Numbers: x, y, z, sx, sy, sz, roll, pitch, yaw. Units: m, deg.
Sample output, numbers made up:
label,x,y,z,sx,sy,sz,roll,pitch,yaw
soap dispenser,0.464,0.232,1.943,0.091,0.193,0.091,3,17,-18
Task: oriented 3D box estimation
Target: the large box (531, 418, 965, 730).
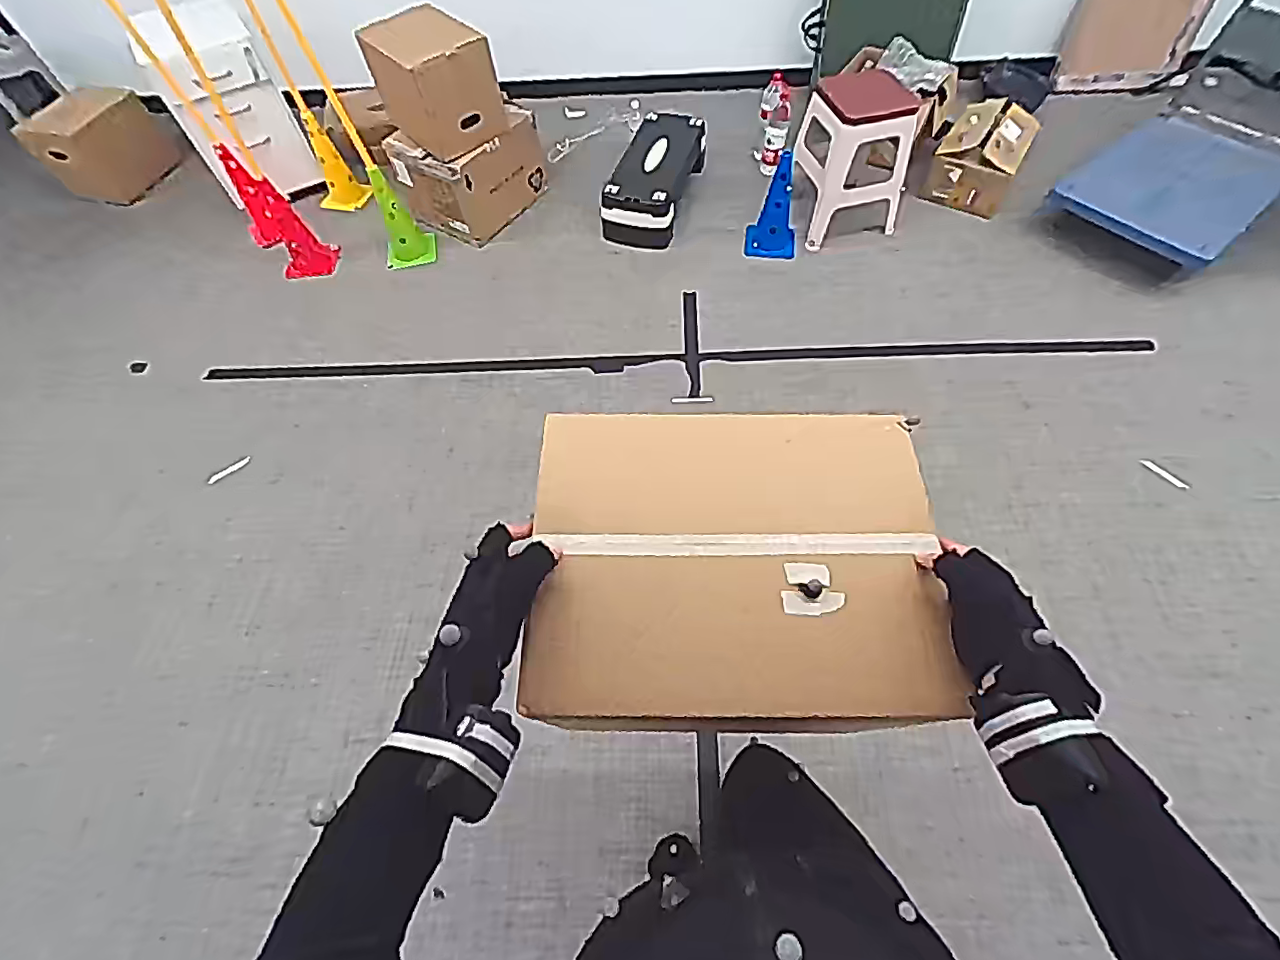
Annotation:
label,x,y,z,sx,sy,sz,roll,pitch,yaw
large box,0.093,0.135,0.685,0.408,0.320,0.320,0,64,-1
